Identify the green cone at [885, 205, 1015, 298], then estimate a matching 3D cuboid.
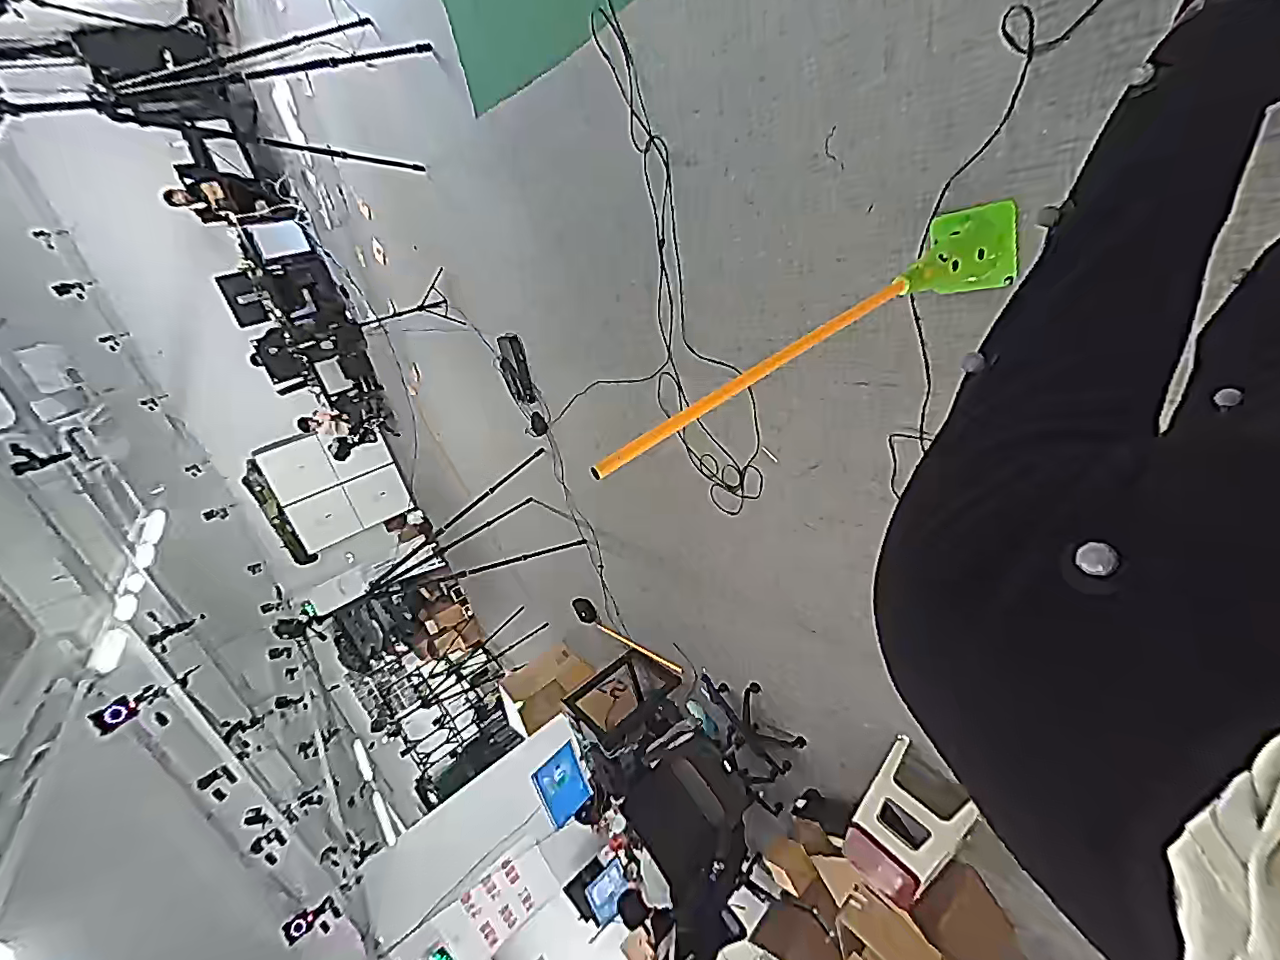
[{"bbox_3d":[0.715,-0.511,1.305,0.202,0.368,0.200,14,127,54],"label":"green cone"}]
